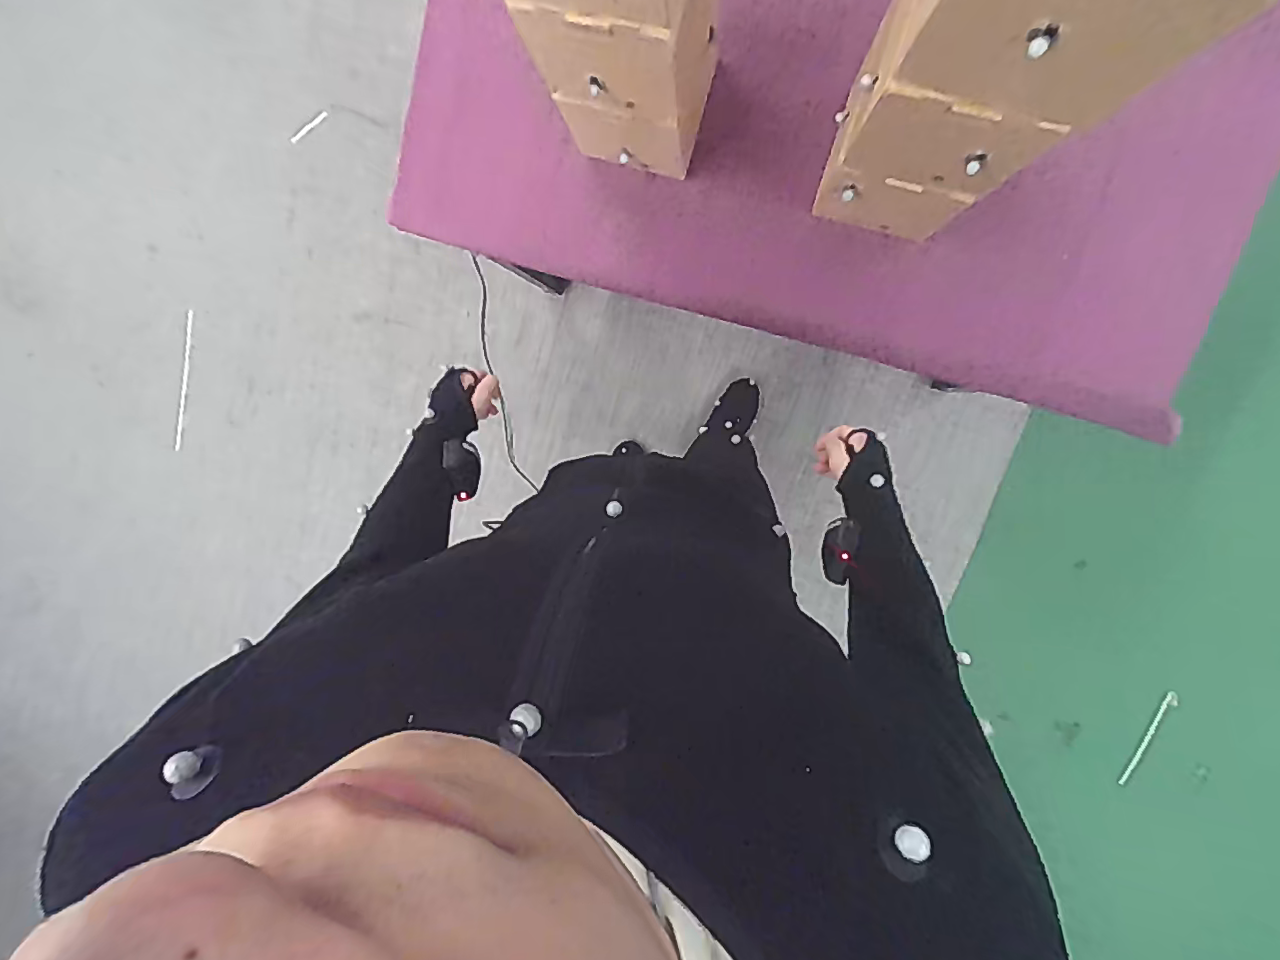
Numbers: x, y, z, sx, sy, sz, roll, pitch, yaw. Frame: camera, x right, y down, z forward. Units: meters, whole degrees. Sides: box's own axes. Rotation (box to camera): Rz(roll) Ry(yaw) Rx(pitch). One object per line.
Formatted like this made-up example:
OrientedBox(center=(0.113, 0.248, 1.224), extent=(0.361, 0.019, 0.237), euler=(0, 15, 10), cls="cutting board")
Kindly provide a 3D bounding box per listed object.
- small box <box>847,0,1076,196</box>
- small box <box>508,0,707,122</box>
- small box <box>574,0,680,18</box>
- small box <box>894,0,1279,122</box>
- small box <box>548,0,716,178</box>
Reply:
OrientedBox(center=(0.322, -0.409, 0.530), extent=(0.168, 0.176, 0.179), euler=(16, 100, 4), cls="small box")
OrientedBox(center=(-0.021, -0.515, 0.555), extent=(0.168, 0.176, 0.179), euler=(15, 101, 4), cls="small box")
OrientedBox(center=(-0.043, -0.490, 0.394), extent=(0.179, 0.176, 0.168), euler=(15, 102, 5), cls="small box")
OrientedBox(center=(0.310, -0.383, 0.369), extent=(0.179, 0.176, 0.168), euler=(17, 100, 4), cls="small box")
OrientedBox(center=(-0.003, -0.538, 0.714), extent=(0.168, 0.176, 0.179), euler=(17, 101, 4), cls="small box")
